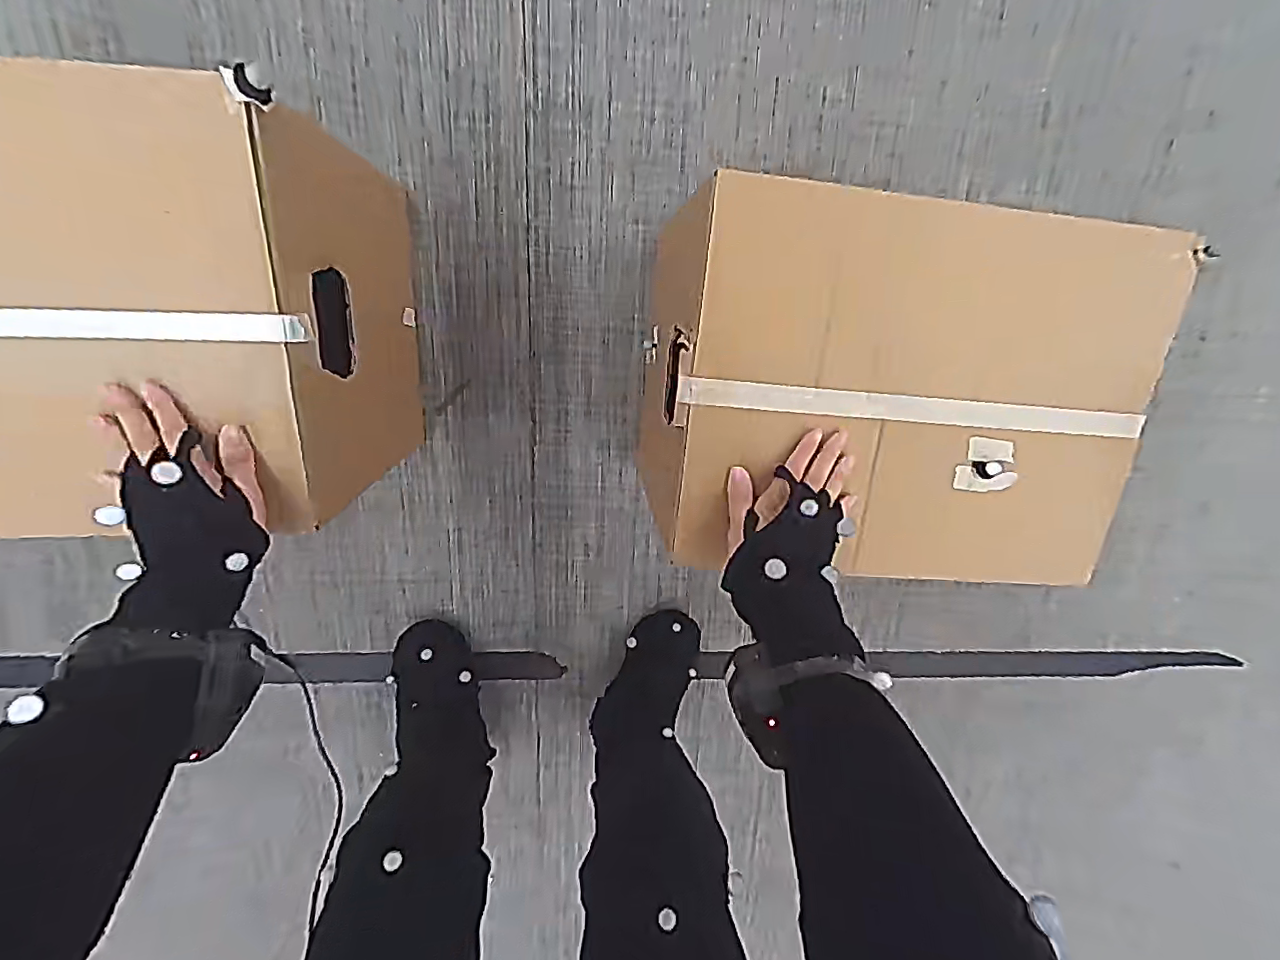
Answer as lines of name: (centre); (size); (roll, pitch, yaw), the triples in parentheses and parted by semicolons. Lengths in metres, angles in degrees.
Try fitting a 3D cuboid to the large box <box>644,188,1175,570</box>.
large box: (0.226, -0.106, 0.611); (0.408, 0.320, 0.320); (3, 107, -8)
